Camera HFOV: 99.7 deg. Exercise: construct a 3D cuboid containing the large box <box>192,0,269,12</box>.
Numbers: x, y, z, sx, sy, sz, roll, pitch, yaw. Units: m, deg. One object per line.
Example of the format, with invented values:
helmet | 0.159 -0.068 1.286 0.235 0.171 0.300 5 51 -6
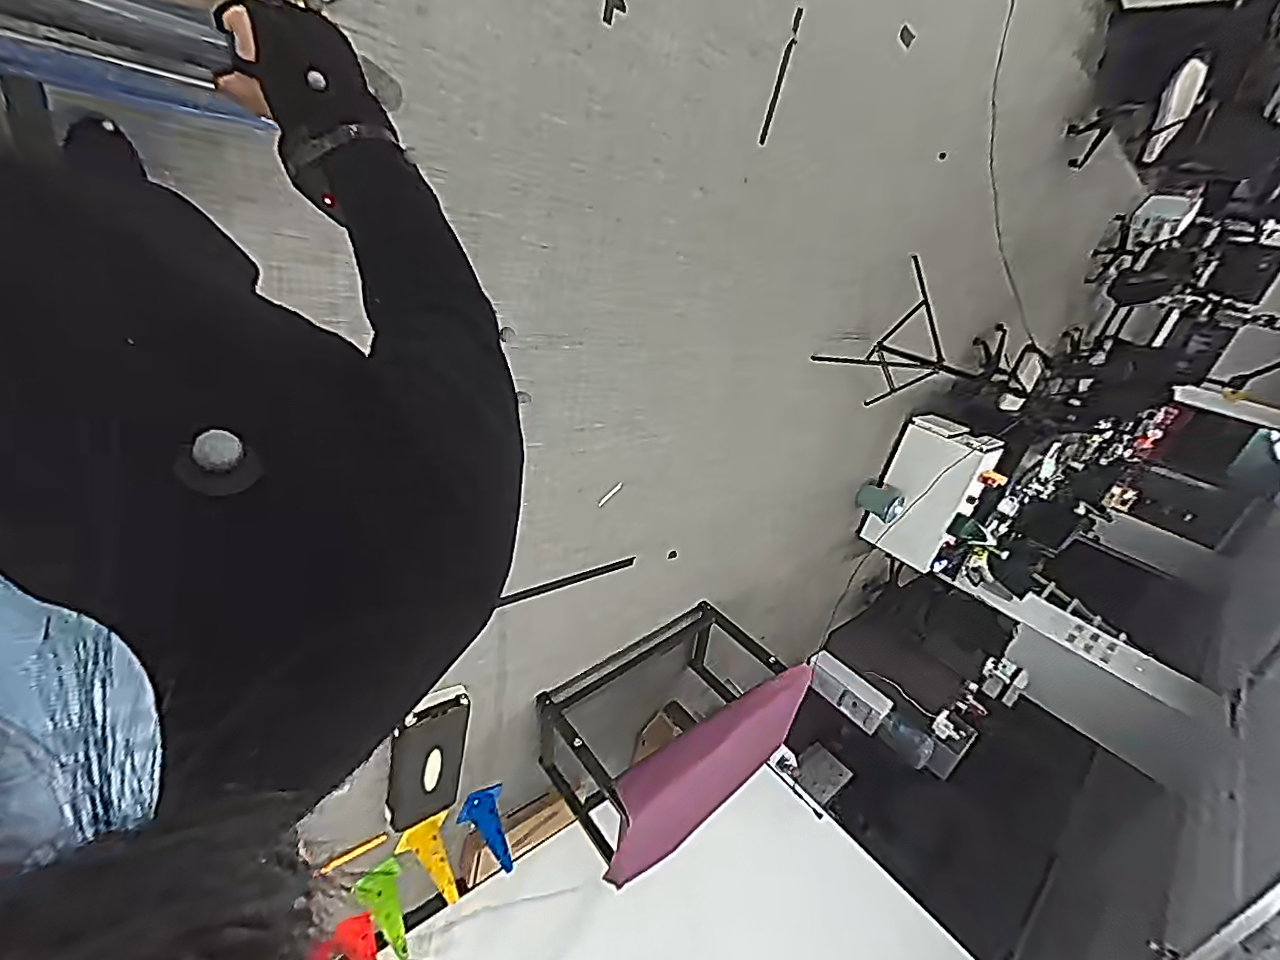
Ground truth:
large box | -0.689 -0.794 0.618 0.408 0.320 0.320 -19 129 -37
